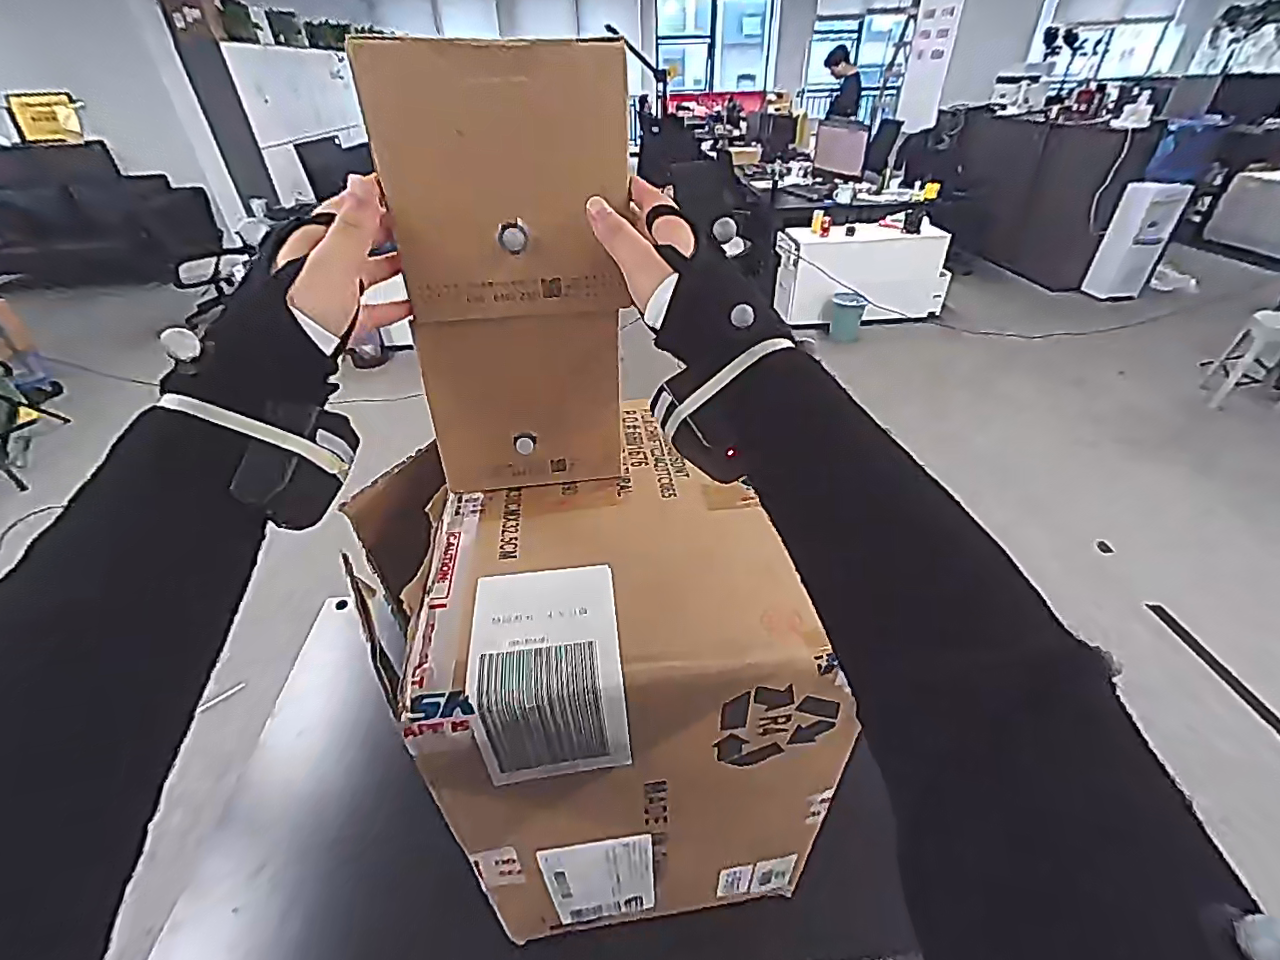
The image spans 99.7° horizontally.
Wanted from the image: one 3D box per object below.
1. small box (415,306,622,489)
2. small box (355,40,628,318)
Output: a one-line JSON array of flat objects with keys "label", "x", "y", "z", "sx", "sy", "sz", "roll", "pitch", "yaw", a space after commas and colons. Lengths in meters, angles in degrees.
[{"label": "small box", "x": -0.110, "y": -0.111, "z": 0.545, "sx": 0.168, "sy": 0.176, "sz": 0.179, "roll": -6, "pitch": 36, "yaw": -7}, {"label": "small box", "x": -0.103, "y": -0.241, "z": 0.442, "sx": 0.168, "sy": 0.176, "sz": 0.179, "roll": -7, "pitch": 35, "yaw": -8}]
